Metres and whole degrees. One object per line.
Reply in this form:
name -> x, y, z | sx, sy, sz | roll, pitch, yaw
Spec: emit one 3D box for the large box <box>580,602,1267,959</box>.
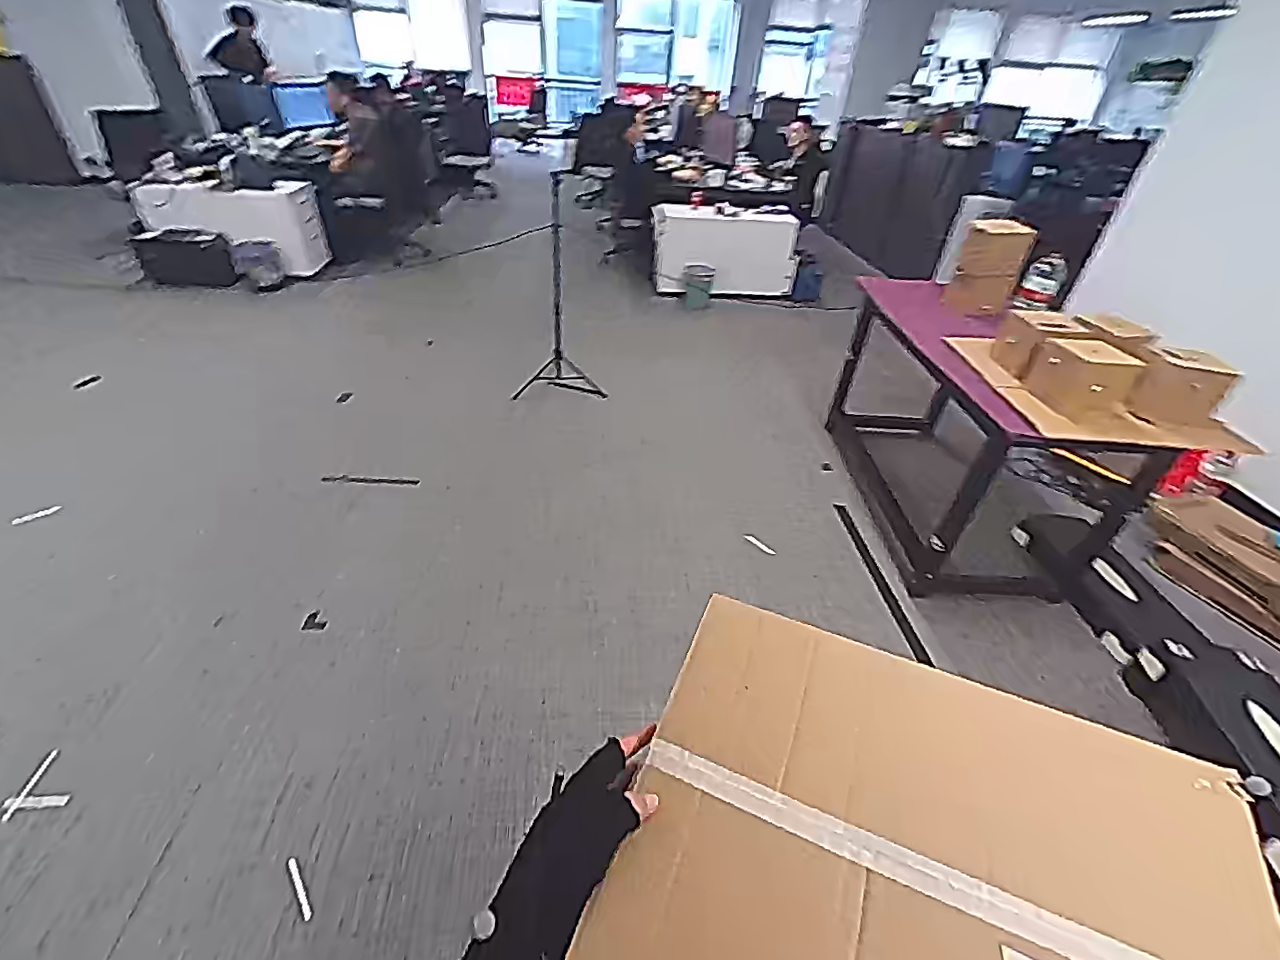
large box -> 0.201, 0.373, 0.487 | 0.408, 0.320, 0.320 | 16, 50, 18
